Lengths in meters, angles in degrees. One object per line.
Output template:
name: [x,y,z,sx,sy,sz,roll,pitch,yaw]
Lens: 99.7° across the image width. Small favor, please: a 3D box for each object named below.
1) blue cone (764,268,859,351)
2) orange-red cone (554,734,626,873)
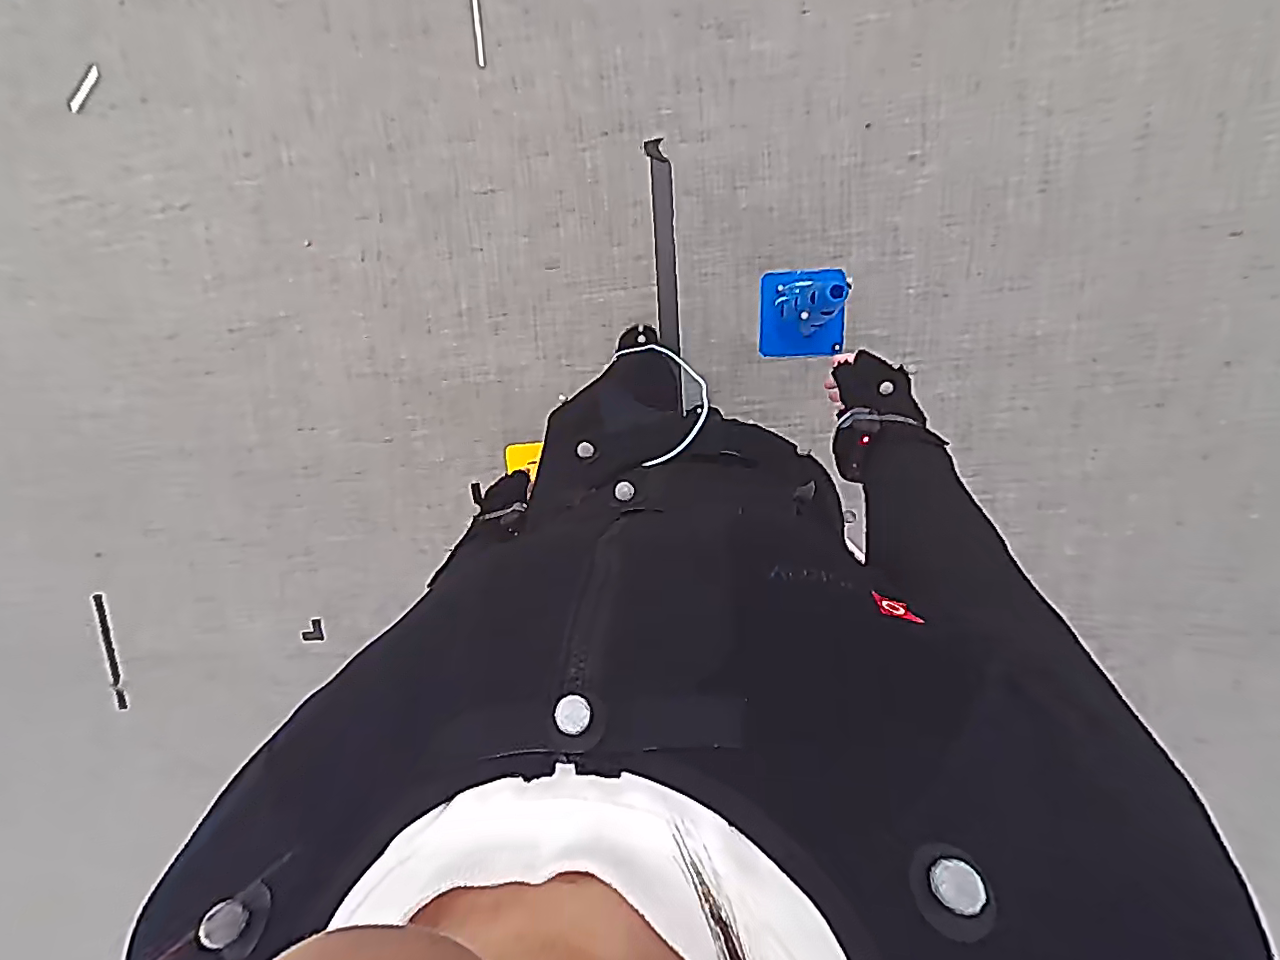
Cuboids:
blue cone: [0.382,-0.381,1.148,0.192,0.380,0.193,1,101,5]
orange-red cone: [-0.164,0.876,1.434,0.199,0.360,0.198,2,99,7]
